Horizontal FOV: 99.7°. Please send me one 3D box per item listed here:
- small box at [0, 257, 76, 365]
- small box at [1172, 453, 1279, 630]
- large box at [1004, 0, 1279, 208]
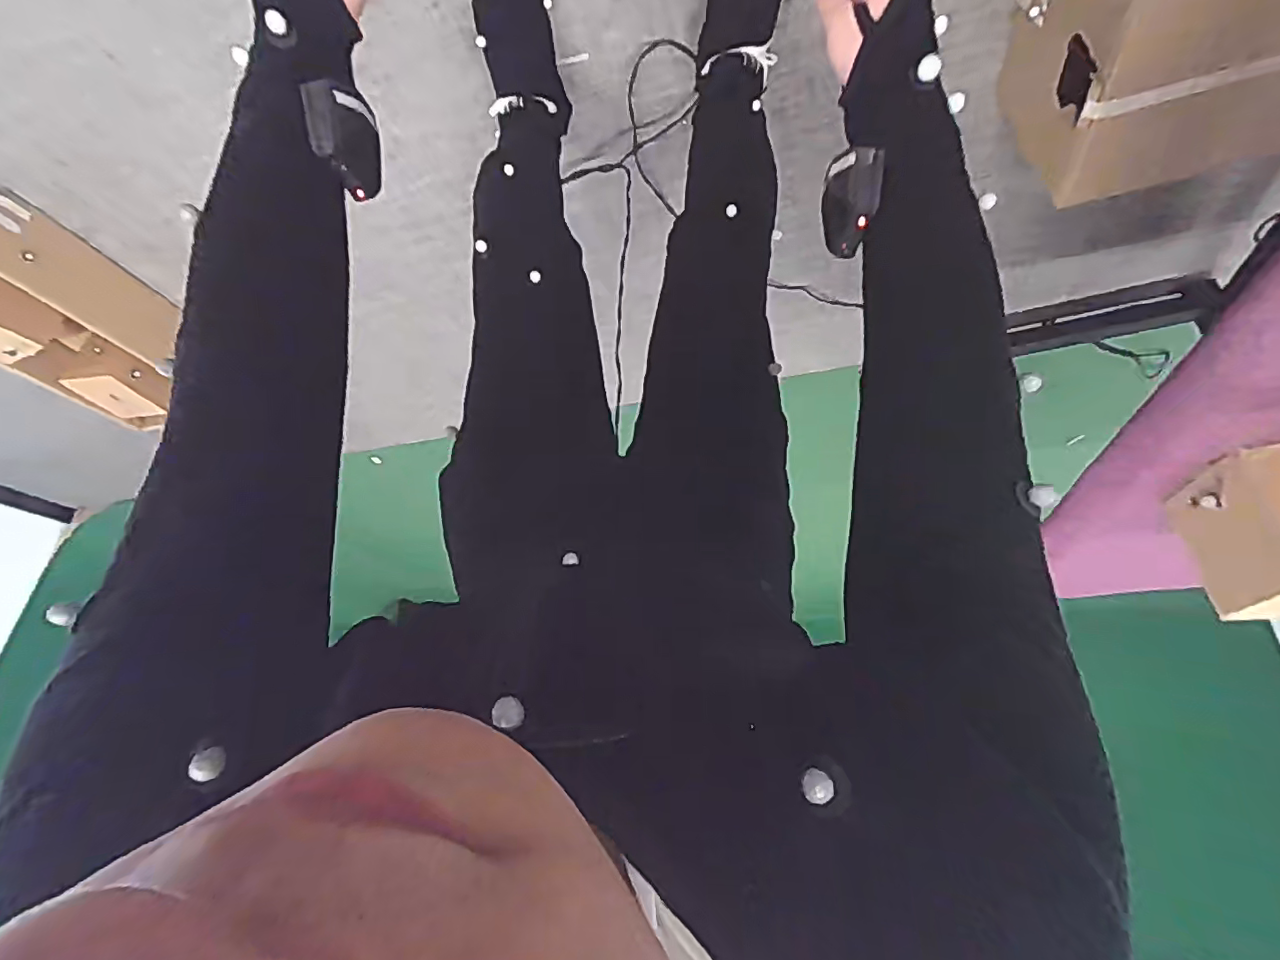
[{"bbox_3d":[-1.520,-0.406,1.280,0.168,0.176,0.179,-10,152,20],"label":"small box"},{"bbox_3d":[0.793,0.068,0.625,0.179,0.176,0.168,-8,151,15],"label":"small box"},{"bbox_3d":[0.771,-0.637,0.700,0.408,0.320,0.320,-9,152,17],"label":"large box"}]
